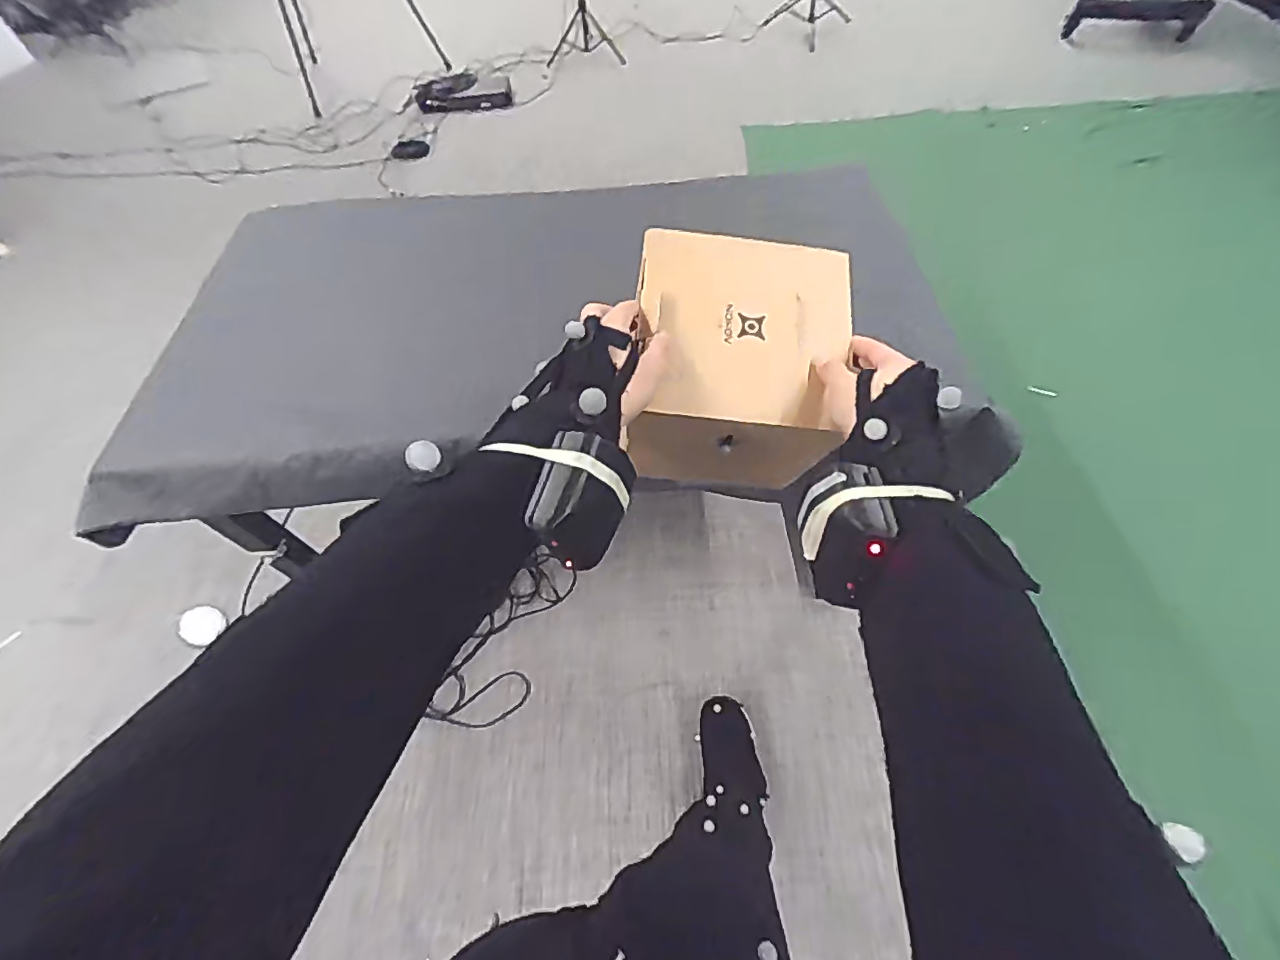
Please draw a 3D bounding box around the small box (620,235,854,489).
[{"bbox_3d":[0.076,-0.095,0.505,0.179,0.176,0.168,6,74,-5],"label":"small box"}]
